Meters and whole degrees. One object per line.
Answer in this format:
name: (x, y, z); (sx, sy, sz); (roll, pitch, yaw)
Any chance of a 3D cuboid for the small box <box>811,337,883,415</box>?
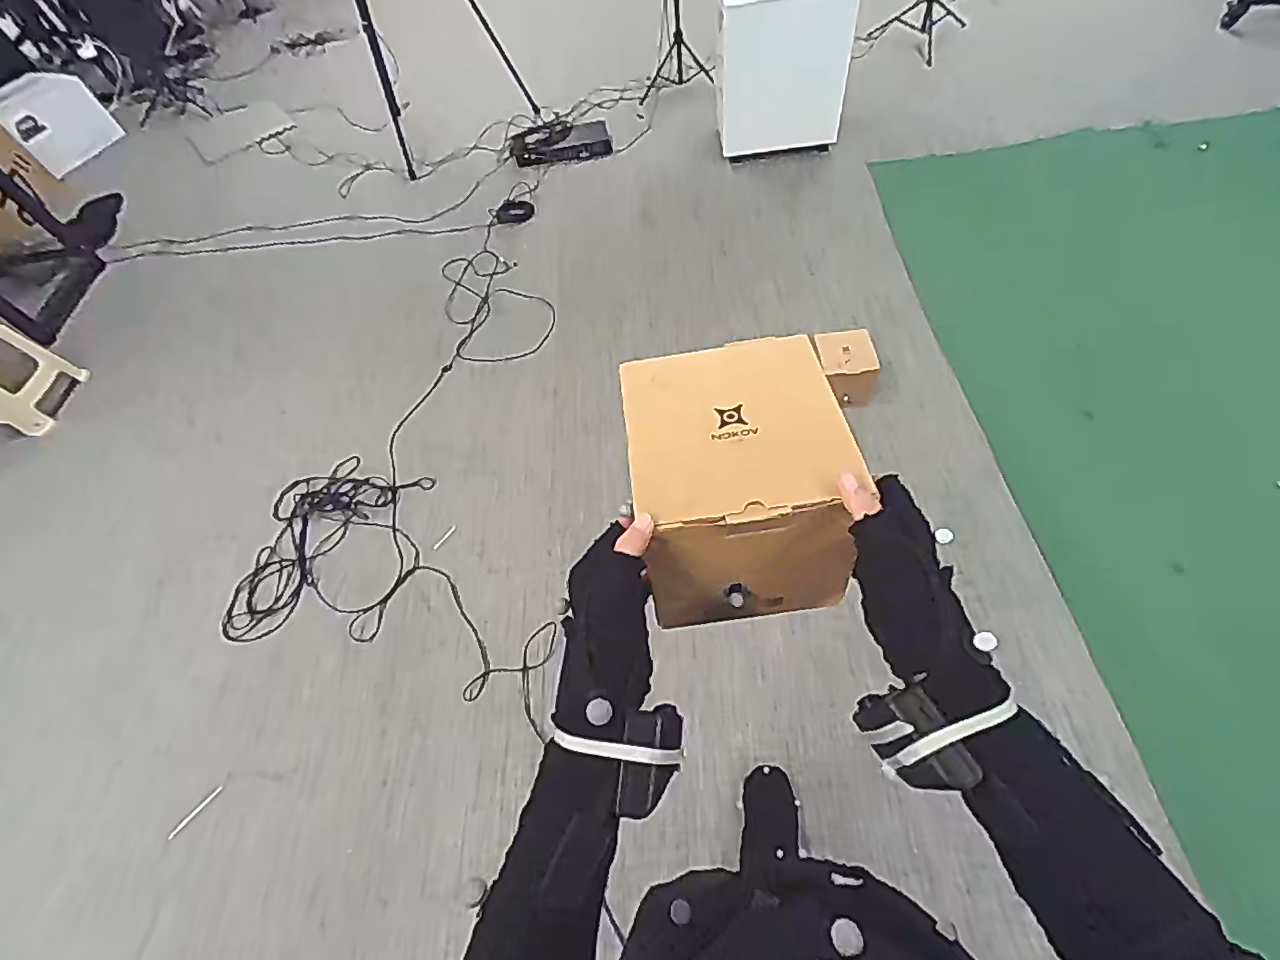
small box: (0.656, -0.332, 1.737); (0.168, 0.176, 0.179); (-5, 58, 6)
